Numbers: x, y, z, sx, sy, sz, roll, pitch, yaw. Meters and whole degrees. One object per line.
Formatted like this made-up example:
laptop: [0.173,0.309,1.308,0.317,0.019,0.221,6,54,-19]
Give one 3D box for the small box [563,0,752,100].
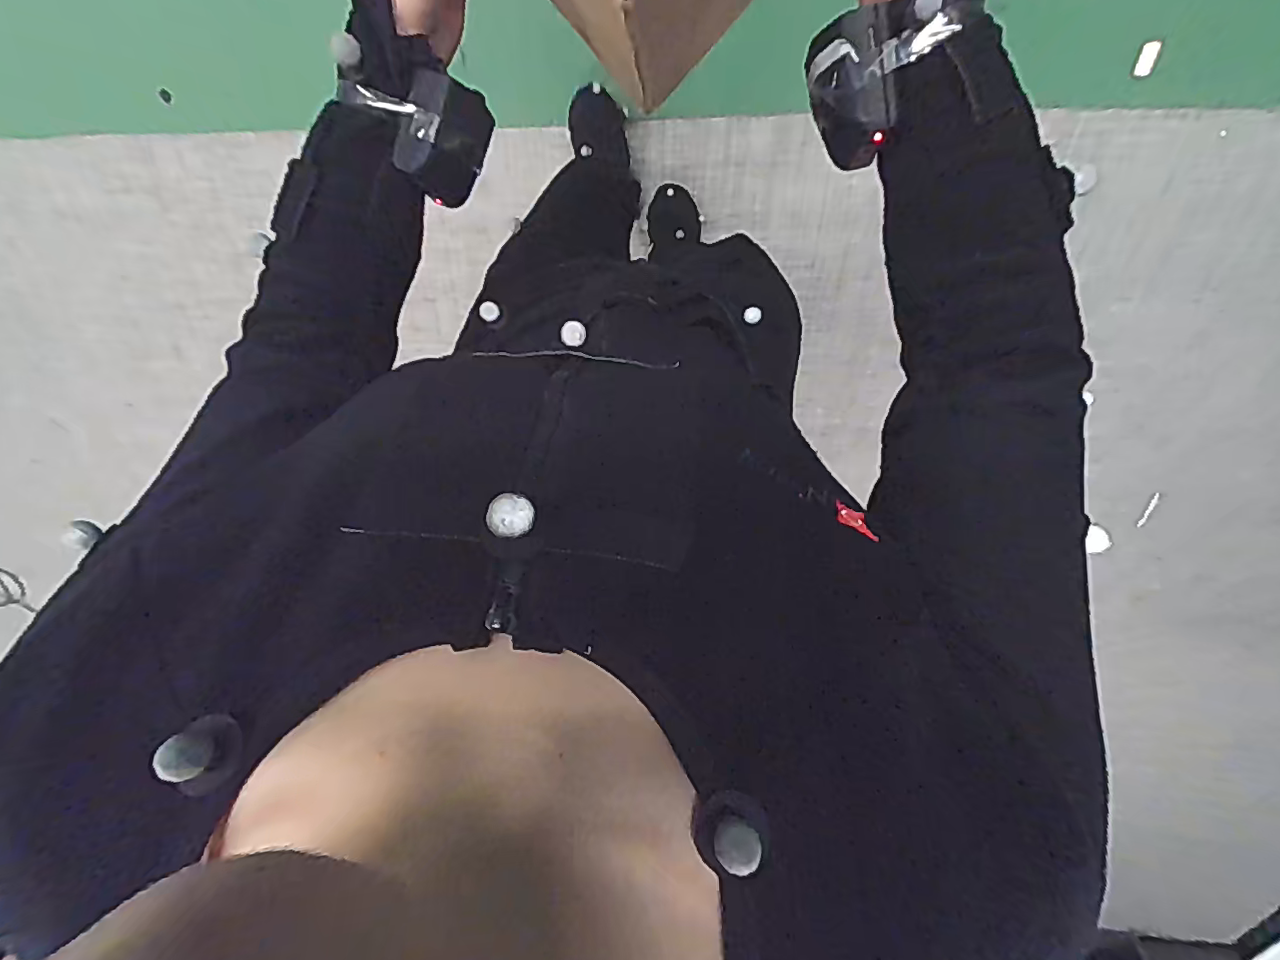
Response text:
small box: [0.007,-0.343,0.270,0.179,0.176,0.168,-42,101,18]
